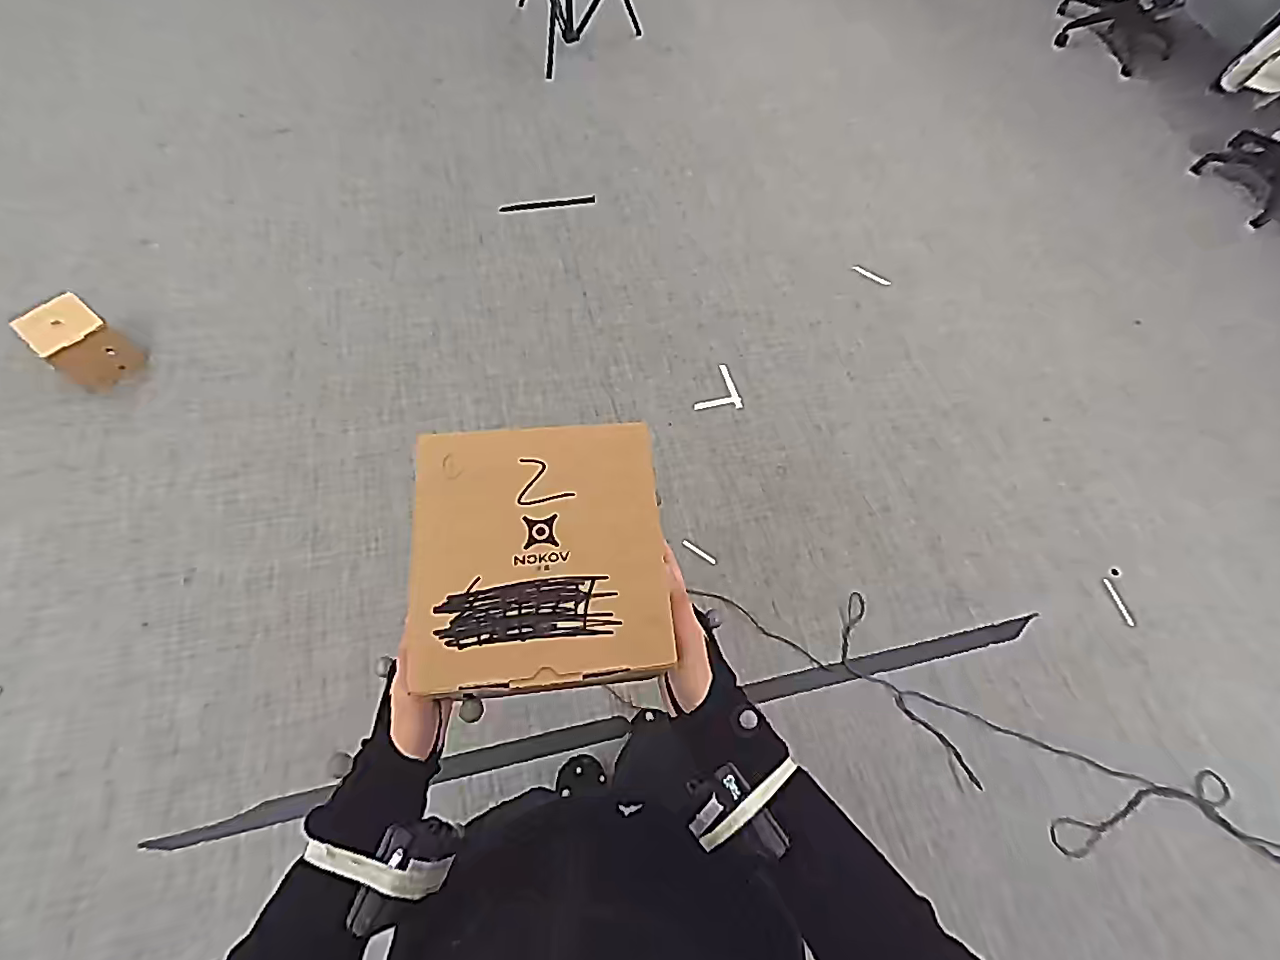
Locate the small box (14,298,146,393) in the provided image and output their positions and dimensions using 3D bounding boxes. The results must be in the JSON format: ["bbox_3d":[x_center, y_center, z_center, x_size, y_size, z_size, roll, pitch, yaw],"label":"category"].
[{"bbox_3d":[-1.588,-0.376,1.548,0.179,0.176,0.168,37,66,13],"label":"small box"}]
